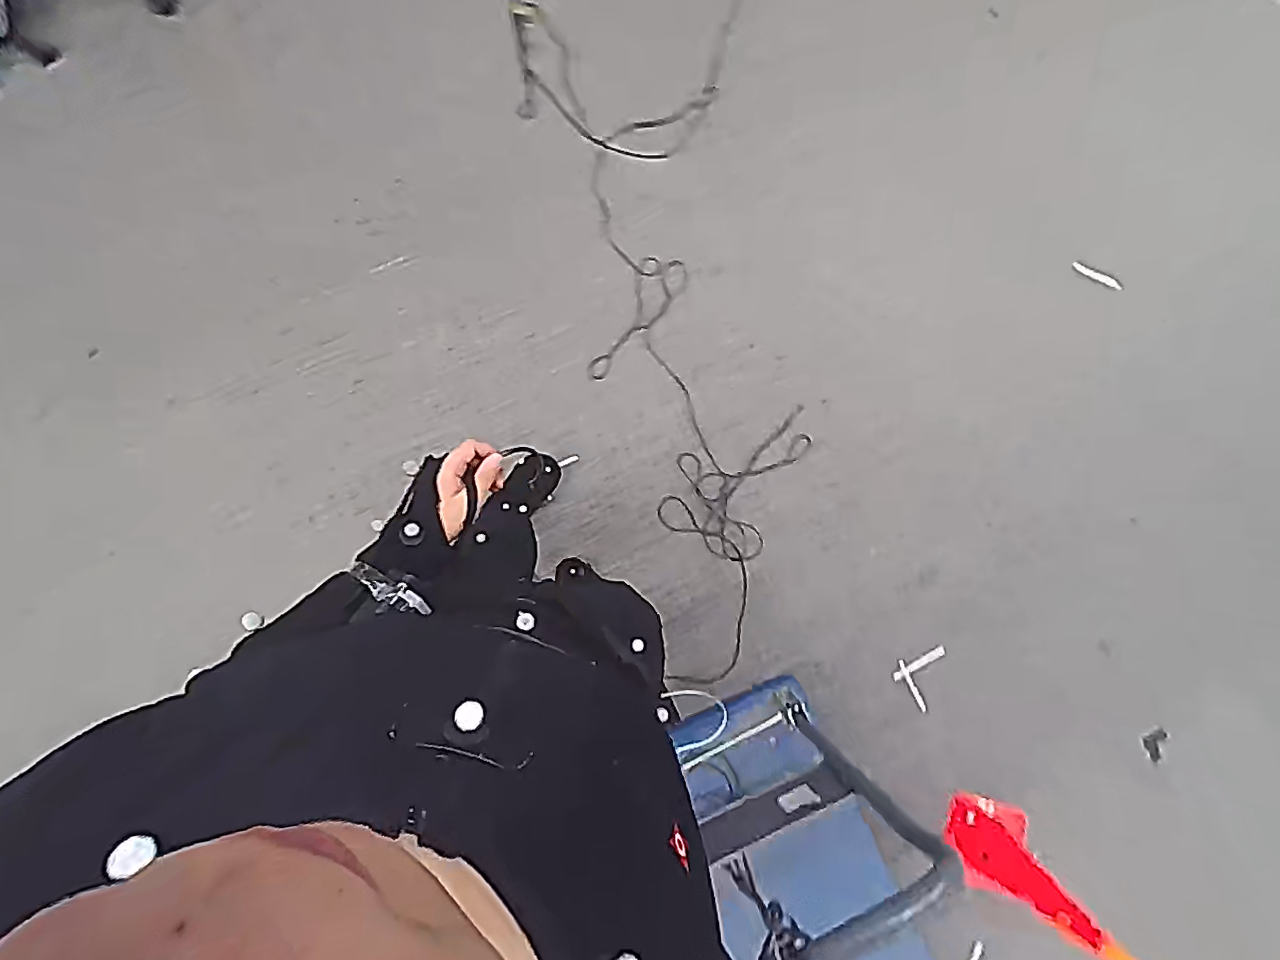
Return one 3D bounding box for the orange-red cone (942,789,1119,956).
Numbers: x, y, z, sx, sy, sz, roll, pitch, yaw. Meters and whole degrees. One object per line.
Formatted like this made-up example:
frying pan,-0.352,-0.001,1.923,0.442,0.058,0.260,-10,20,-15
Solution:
orange-red cone,0.877,0.888,1.188,0.198,0.360,0.199,19,86,0
